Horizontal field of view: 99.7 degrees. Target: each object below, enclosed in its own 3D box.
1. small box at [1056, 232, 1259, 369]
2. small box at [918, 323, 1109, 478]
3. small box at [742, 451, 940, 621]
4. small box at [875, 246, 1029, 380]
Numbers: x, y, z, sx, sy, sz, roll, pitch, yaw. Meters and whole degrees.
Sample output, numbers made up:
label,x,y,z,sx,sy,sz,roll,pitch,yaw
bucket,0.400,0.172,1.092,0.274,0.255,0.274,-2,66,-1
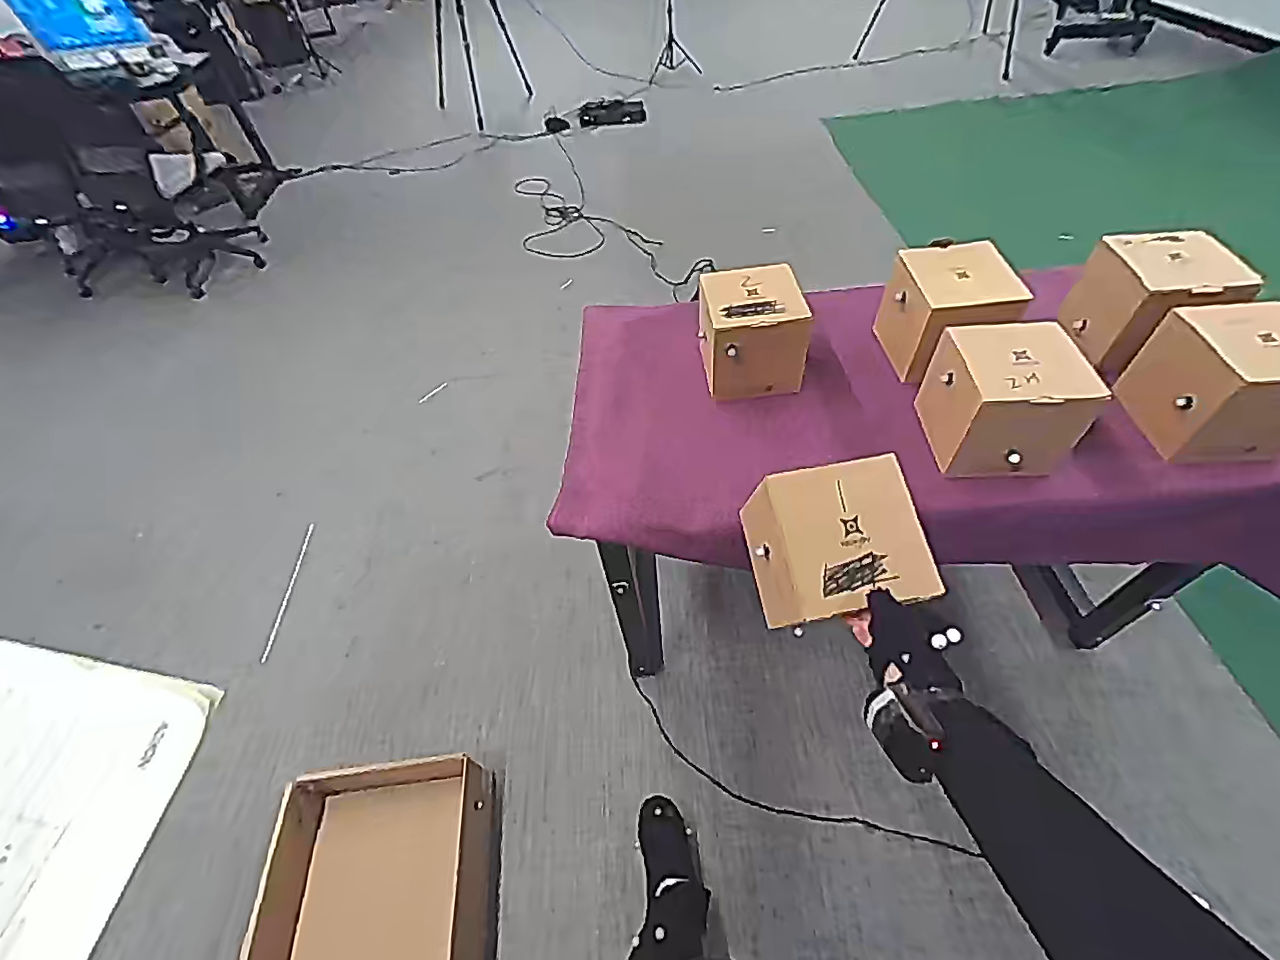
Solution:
label,x,y,z,sx,sy,sz,roll,pitch,yaw
small box,0.895,-0.312,0.961,0.168,0.176,0.179,0,52,7
small box,0.562,-0.123,0.848,0.168,0.176,0.179,-2,51,6
small box,0.243,0.082,0.703,0.168,0.176,0.179,-9,71,-4
small box,0.557,-0.299,0.994,0.168,0.176,0.179,-6,51,2
